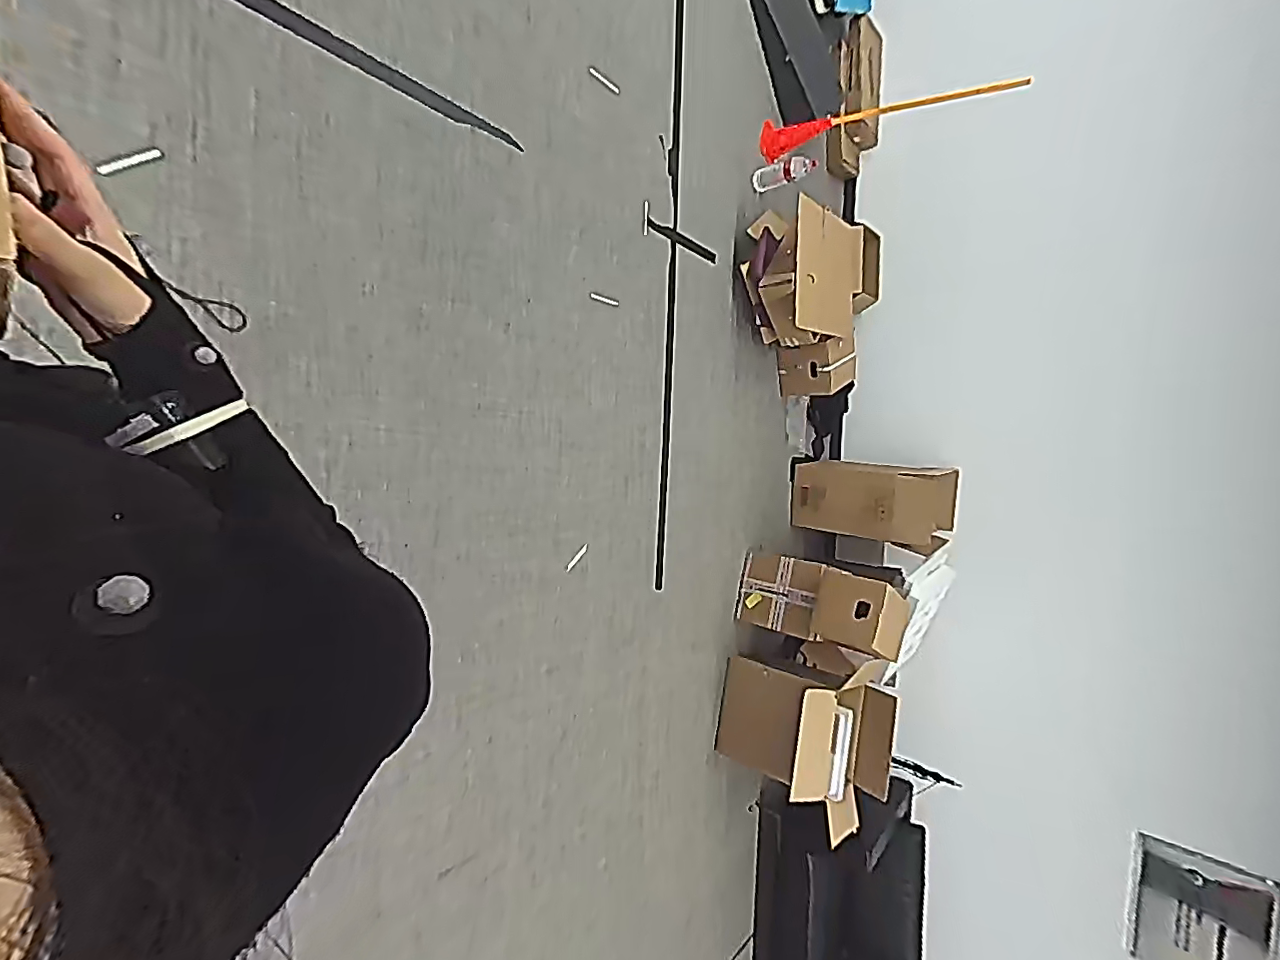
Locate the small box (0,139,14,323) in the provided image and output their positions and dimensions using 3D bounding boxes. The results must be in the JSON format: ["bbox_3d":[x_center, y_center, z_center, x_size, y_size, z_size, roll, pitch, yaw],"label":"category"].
[{"bbox_3d":[-0.425,-0.175,0.249,0.168,0.176,0.179,-8,93,-52],"label":"small box"}]
